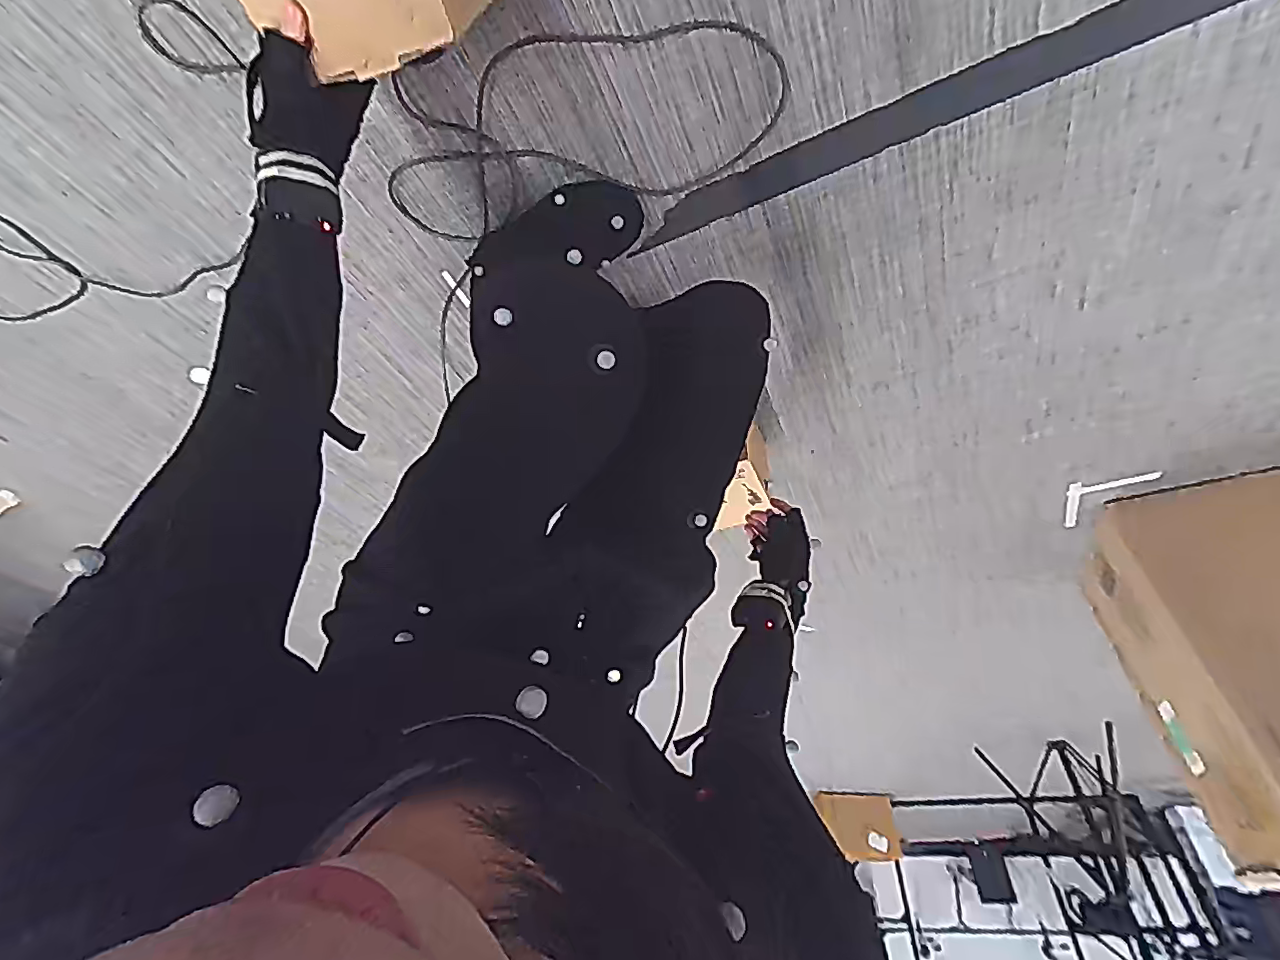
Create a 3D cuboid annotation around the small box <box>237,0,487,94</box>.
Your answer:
[{"bbox_3d":[-0.242,-0.468,0.447,0.168,0.176,0.179,-5,143,16],"label":"small box"}]

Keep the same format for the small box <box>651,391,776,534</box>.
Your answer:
[{"bbox_3d":[0.134,-0.030,0.974,0.179,0.176,0.168,-15,138,22],"label":"small box"}]
